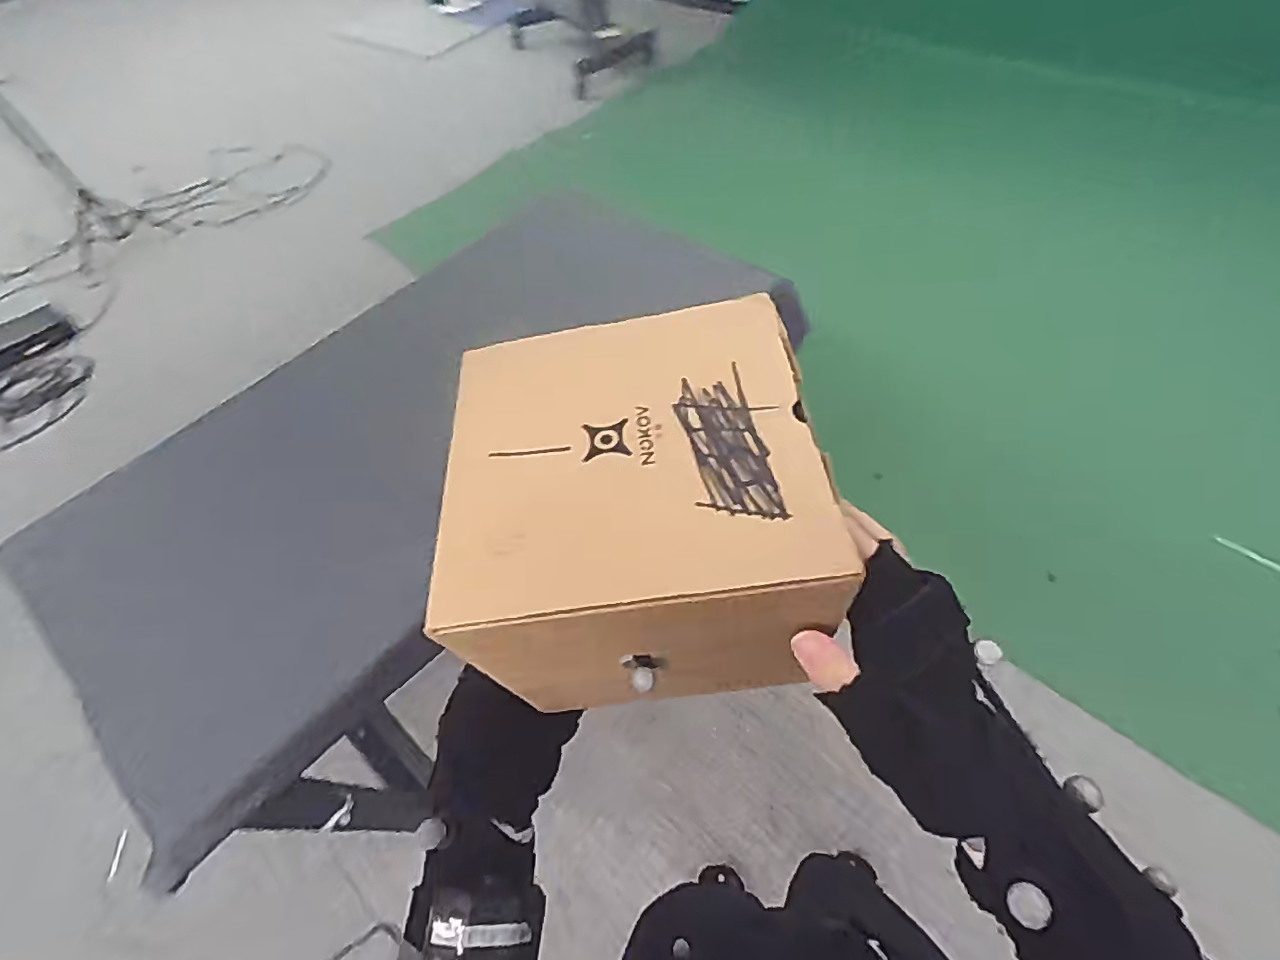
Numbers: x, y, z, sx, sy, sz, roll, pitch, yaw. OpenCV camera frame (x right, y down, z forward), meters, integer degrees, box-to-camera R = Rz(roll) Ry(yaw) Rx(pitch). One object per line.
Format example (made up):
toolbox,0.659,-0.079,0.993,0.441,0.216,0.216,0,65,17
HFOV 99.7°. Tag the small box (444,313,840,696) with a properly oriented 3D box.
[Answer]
small box,0.004,0.026,0.341,0.179,0.176,0.168,-9,55,4
